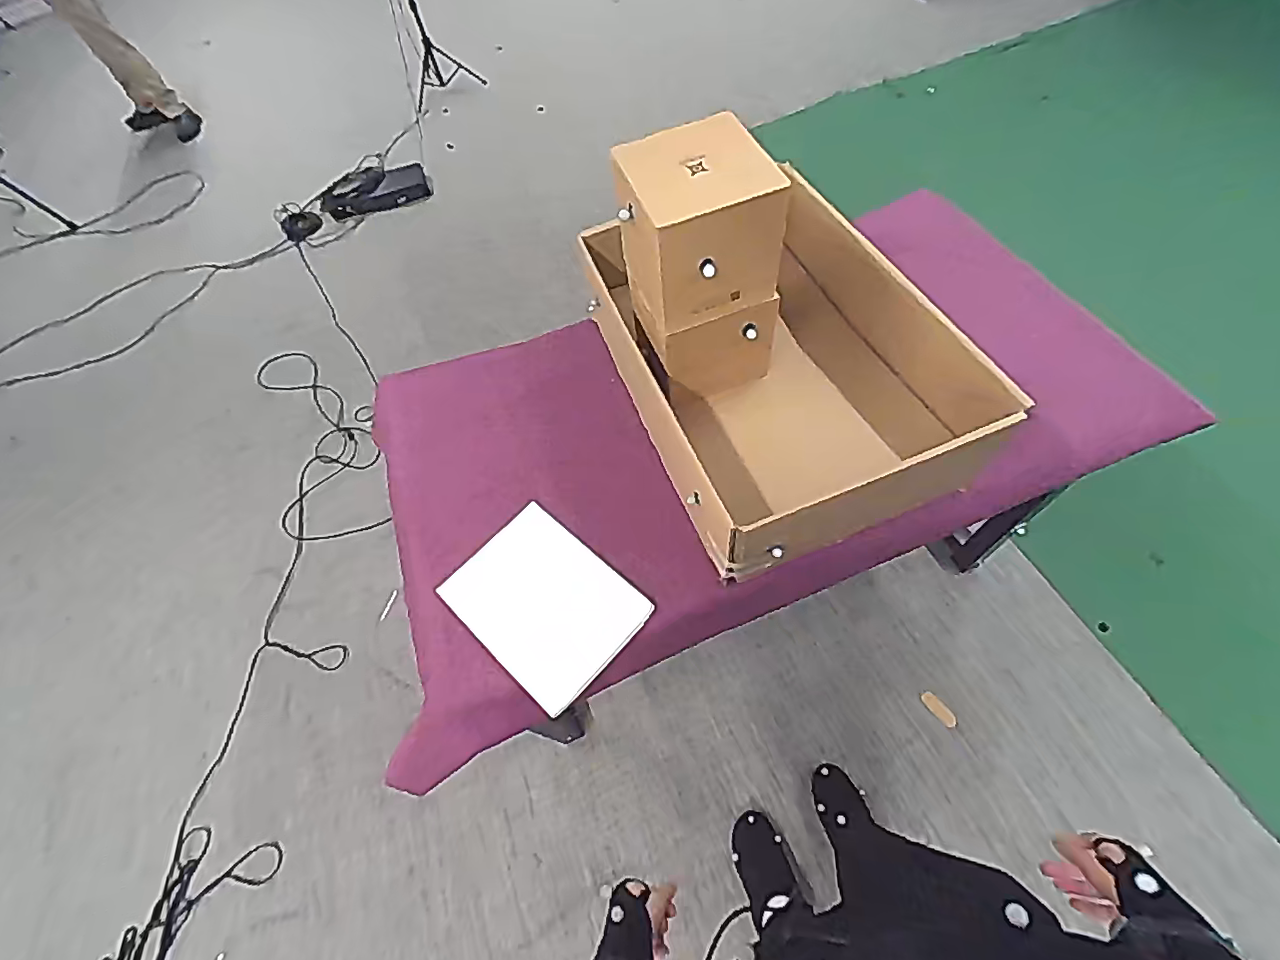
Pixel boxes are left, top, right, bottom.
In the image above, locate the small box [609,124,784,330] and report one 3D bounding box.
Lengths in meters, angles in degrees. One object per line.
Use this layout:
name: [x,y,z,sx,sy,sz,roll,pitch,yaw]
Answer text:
small box: [0.073,-0.323,0.718,0.168,0.176,0.179,-20,59,-4]
